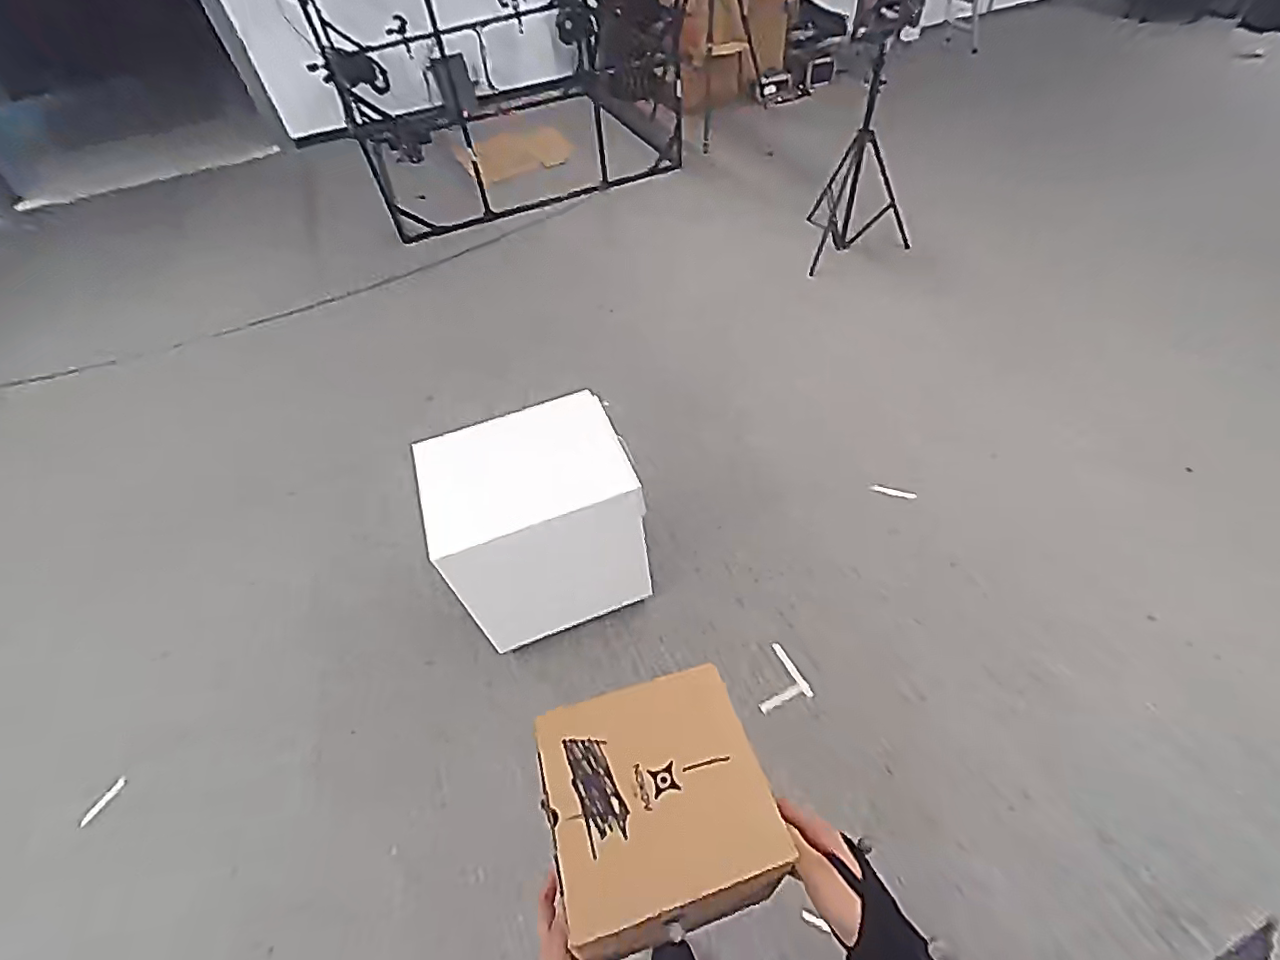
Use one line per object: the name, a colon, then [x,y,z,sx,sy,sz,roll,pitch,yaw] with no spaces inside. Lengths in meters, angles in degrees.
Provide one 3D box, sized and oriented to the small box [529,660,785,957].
small box: [0.009,0.303,0.501,0.179,0.176,0.168,-14,45,-12]
